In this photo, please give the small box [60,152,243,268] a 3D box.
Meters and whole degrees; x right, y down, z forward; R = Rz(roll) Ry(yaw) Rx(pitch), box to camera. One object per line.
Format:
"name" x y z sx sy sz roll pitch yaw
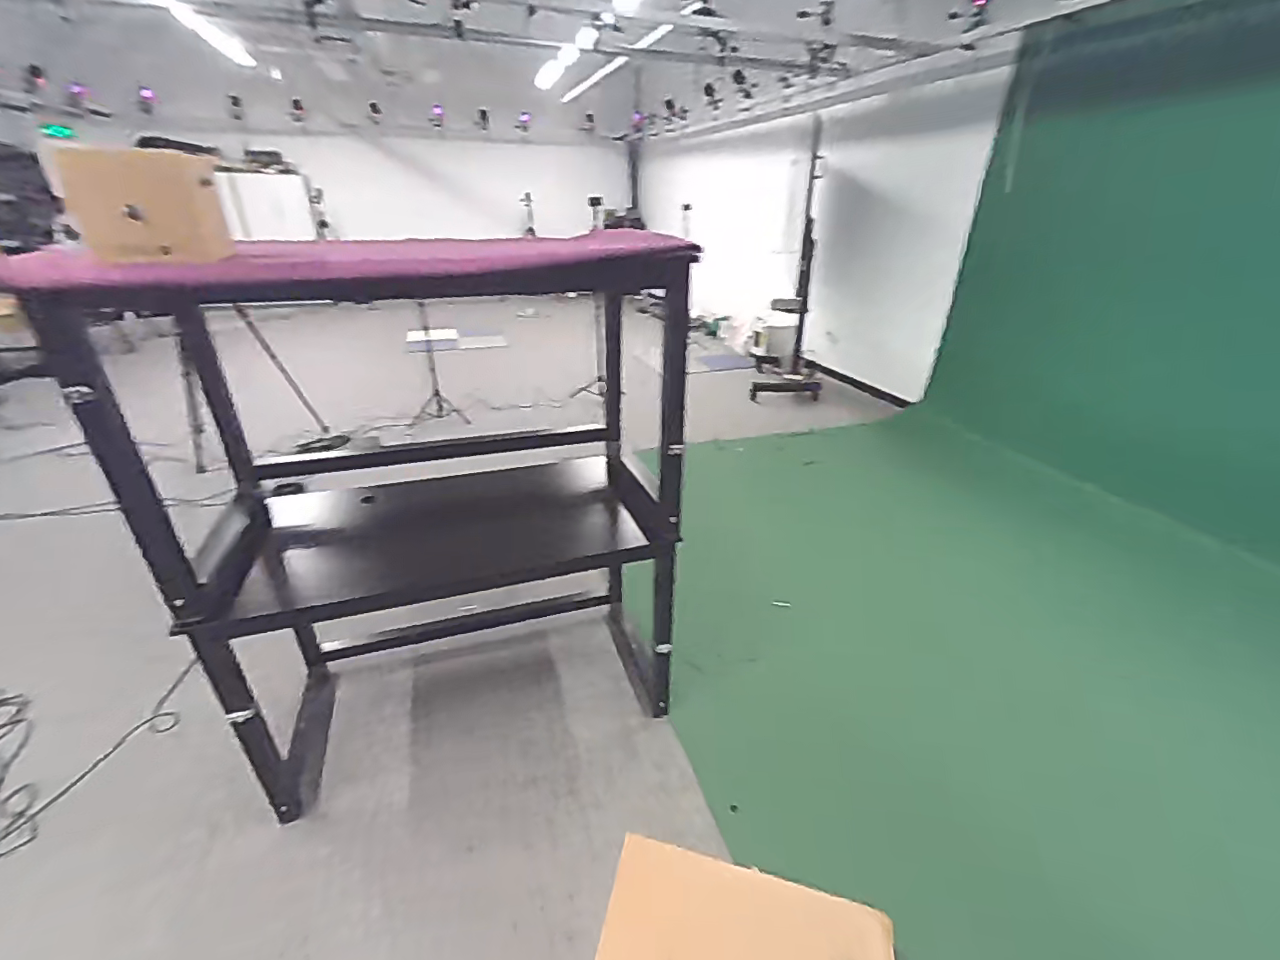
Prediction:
"small box" -0.825 -0.465 0.940 0.168 0.176 0.179 -8 28 -20
